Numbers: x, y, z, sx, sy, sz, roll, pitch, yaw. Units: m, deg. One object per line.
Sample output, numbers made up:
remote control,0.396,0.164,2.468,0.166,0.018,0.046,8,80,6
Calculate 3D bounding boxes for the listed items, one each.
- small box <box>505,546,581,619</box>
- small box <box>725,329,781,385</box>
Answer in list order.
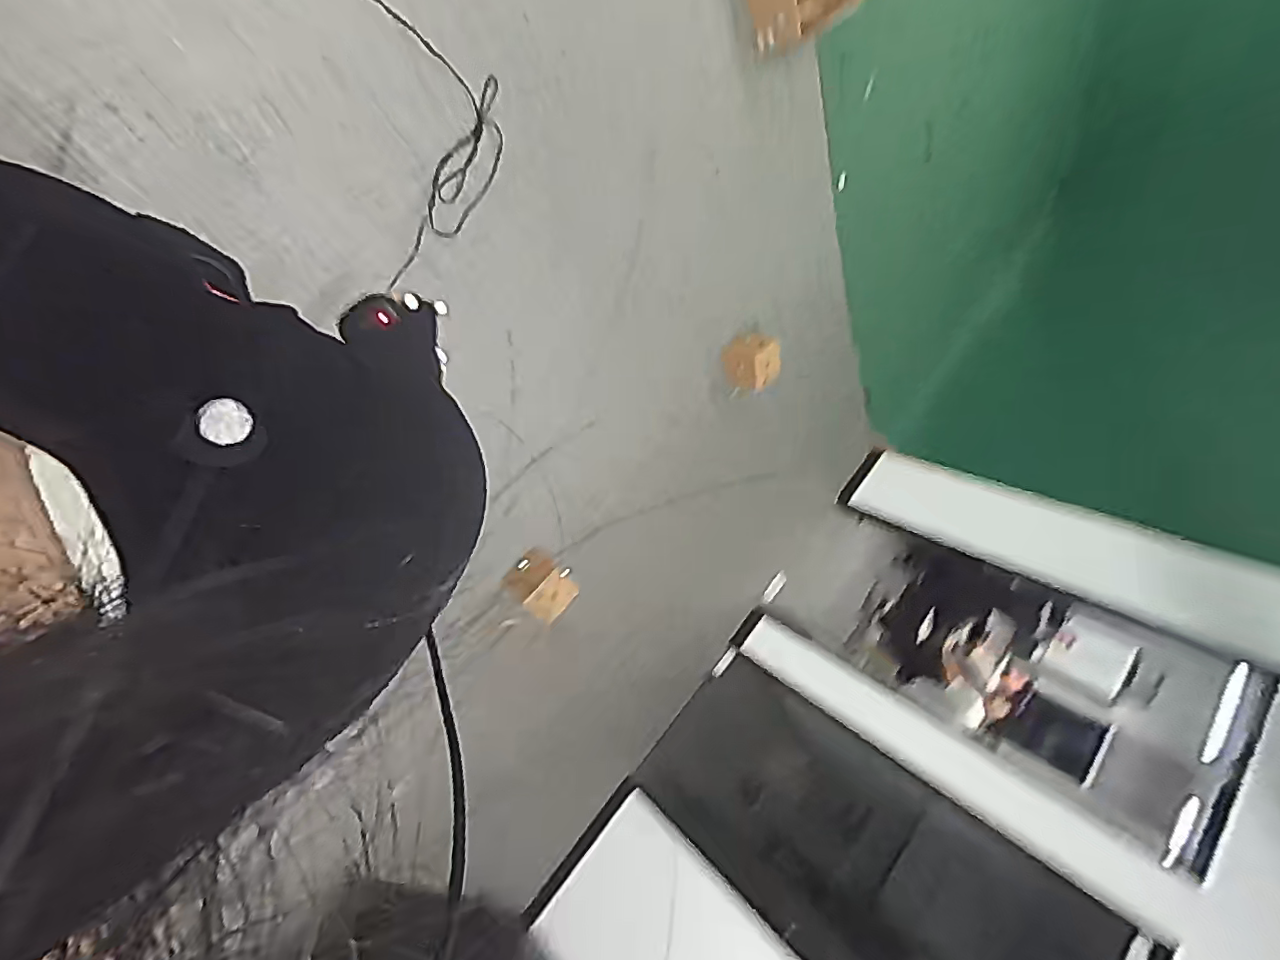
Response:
small box,-0.355,0.367,1.972,0.168,0.176,0.179,-49,135,-17
small box,0.483,-0.538,2.330,0.168,0.176,0.179,-38,132,-25
